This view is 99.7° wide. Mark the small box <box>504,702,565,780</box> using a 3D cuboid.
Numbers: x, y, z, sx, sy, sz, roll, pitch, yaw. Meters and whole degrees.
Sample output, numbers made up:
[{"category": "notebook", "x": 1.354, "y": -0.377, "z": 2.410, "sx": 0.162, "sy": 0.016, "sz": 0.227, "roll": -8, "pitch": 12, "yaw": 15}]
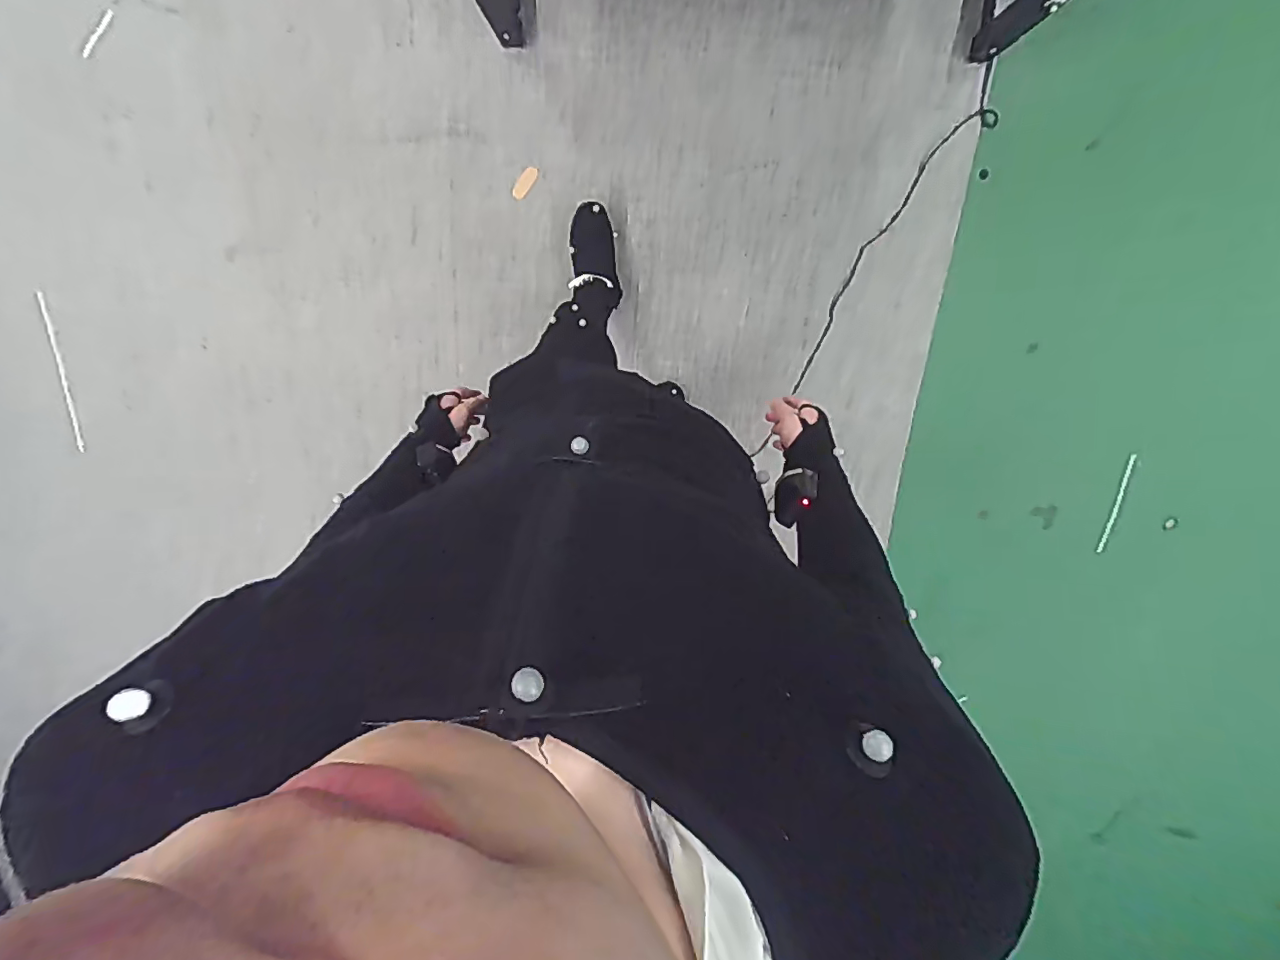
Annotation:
[{"category": "small box", "x": -0.352, "y": 0.876, "z": 1.824, "sx": 0.179, "sy": 0.176, "sz": 0.168, "roll": 5, "pitch": 107, "yaw": -1}]

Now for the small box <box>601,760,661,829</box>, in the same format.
[{"category": "small box", "x": -0.030, "y": 1.113, "z": 1.886, "sx": 0.179, "sy": 0.176, "sz": 0.168, "roll": 13, "pitch": 107, "yaw": -2}]

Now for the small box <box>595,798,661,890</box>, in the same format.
[{"category": "small box", "x": -0.036, "y": 1.155, "z": 1.726, "sx": 0.179, "sy": 0.176, "sz": 0.168, "roll": 12, "pitch": 108, "yaw": -2}]
